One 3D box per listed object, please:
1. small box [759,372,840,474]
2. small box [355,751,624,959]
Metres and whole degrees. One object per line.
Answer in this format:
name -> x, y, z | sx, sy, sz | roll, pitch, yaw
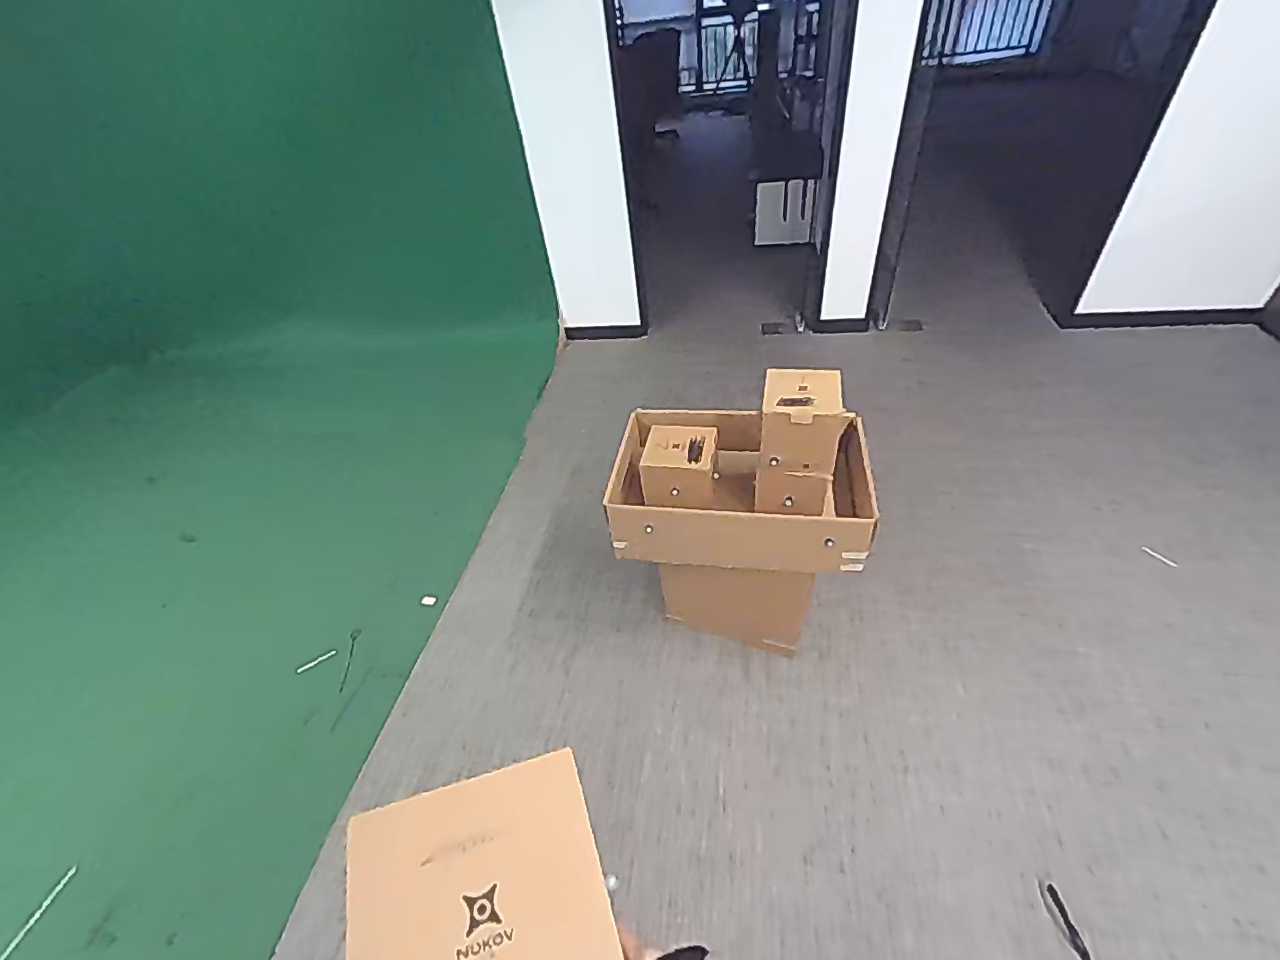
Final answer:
small box -> 0.365, -0.130, 1.246 | 0.168, 0.176, 0.179 | 5, 43, 14
small box -> -0.111, 0.346, 0.417 | 0.168, 0.176, 0.179 | -8, 47, -19
